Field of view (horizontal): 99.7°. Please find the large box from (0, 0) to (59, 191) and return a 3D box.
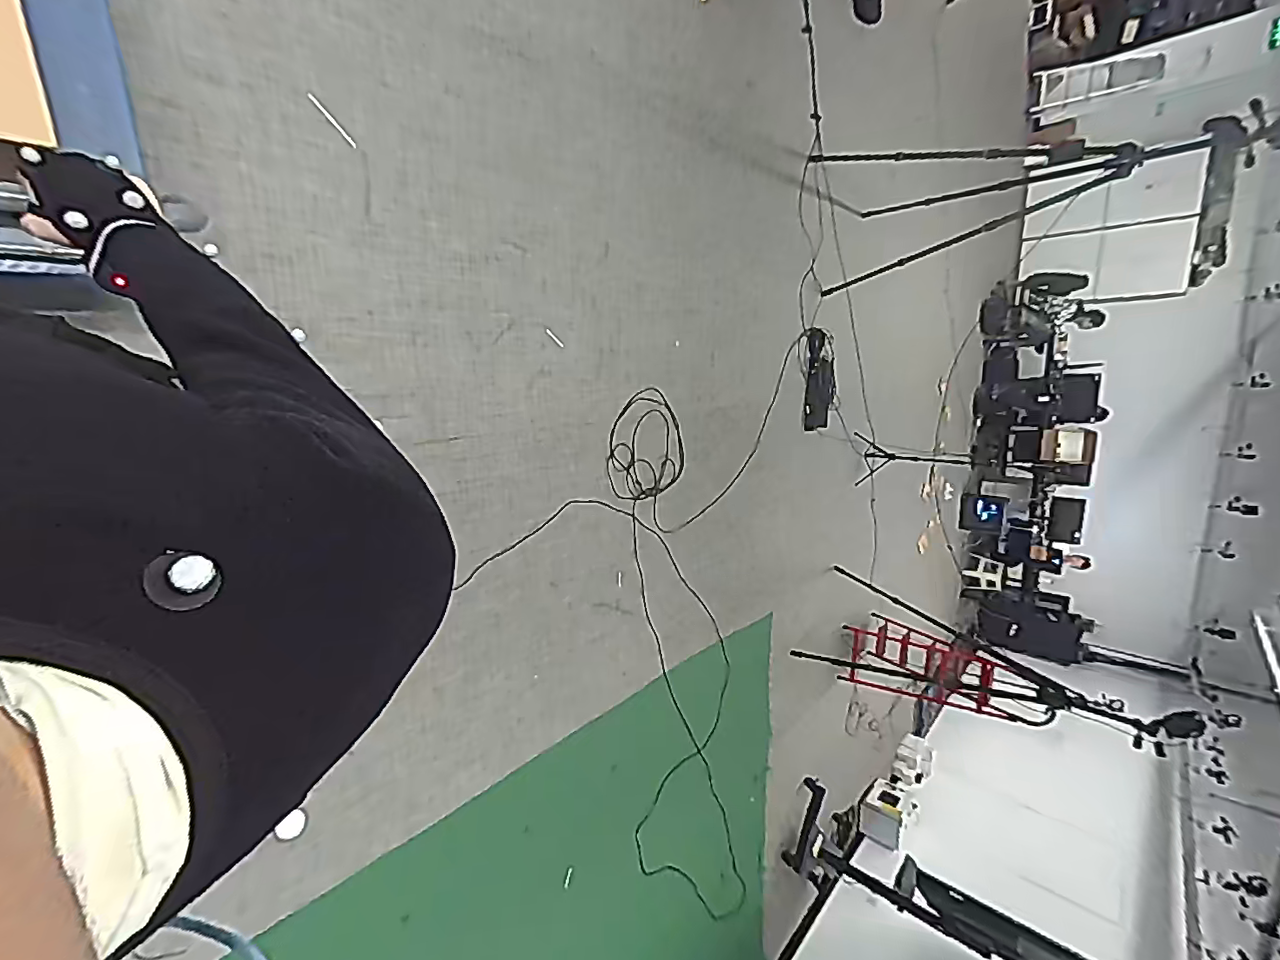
[{"bbox_3d":[-1.074,-0.663,0.735,0.320,0.320,0.408,-17,109,-44],"label":"large box"}]
